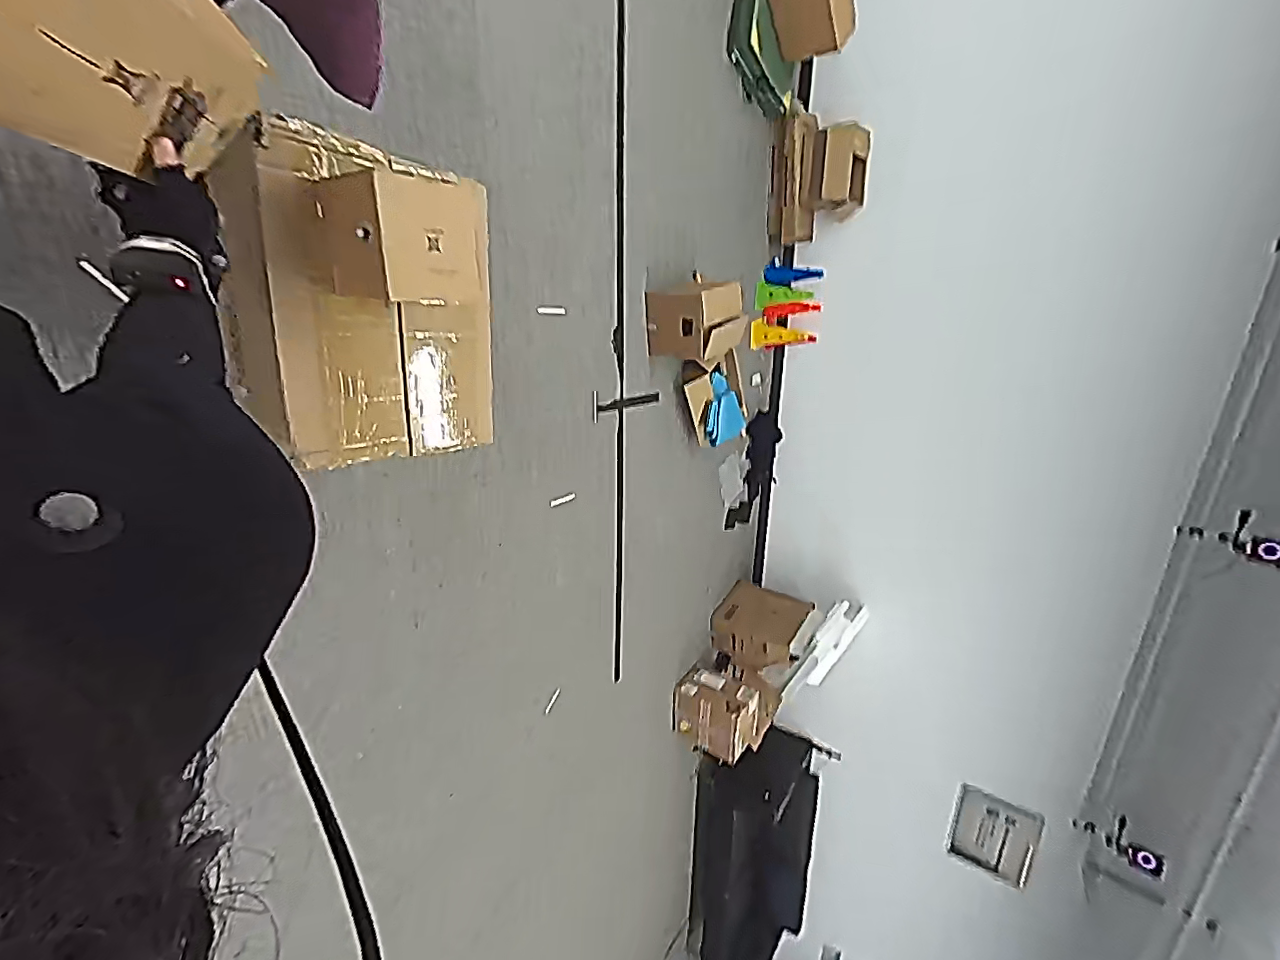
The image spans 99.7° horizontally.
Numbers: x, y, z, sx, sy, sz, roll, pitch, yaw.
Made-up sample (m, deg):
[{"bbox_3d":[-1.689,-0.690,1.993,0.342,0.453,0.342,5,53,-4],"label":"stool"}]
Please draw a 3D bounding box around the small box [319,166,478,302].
[{"bbox_3d":[-0.382,-0.378,0.860,0.168,0.176,0.179,-22,121,-49],"label":"small box"}]

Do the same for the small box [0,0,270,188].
[{"bbox_3d":[-0.489,-0.407,0.466,0.168,0.176,0.179,-41,178,11],"label":"small box"}]
